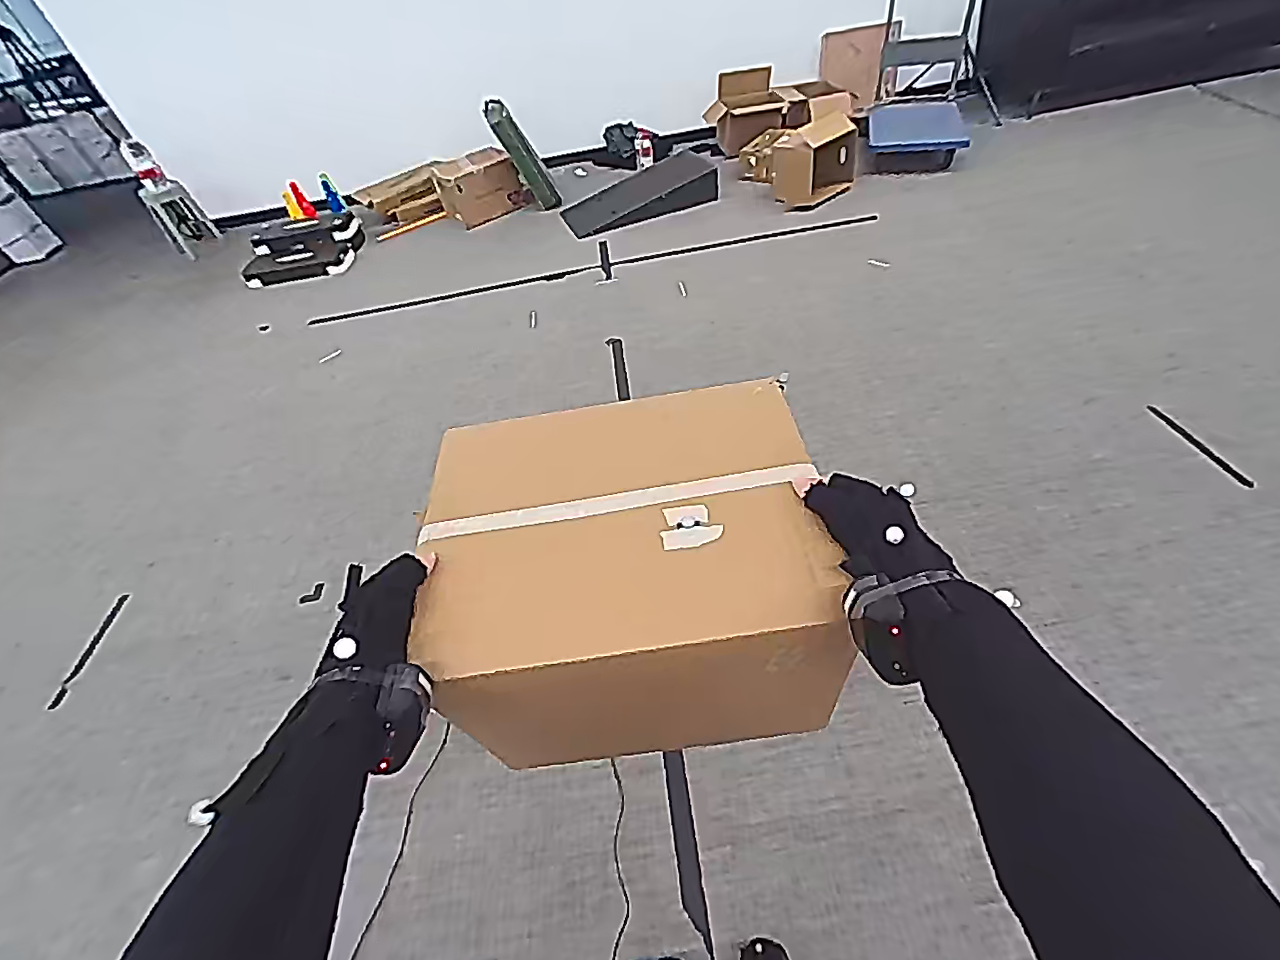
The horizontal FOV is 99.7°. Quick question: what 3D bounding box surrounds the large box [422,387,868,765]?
[{"bbox_3d":[0.003,0.126,0.676,0.408,0.320,0.320,-8,50,1],"label":"large box"}]
